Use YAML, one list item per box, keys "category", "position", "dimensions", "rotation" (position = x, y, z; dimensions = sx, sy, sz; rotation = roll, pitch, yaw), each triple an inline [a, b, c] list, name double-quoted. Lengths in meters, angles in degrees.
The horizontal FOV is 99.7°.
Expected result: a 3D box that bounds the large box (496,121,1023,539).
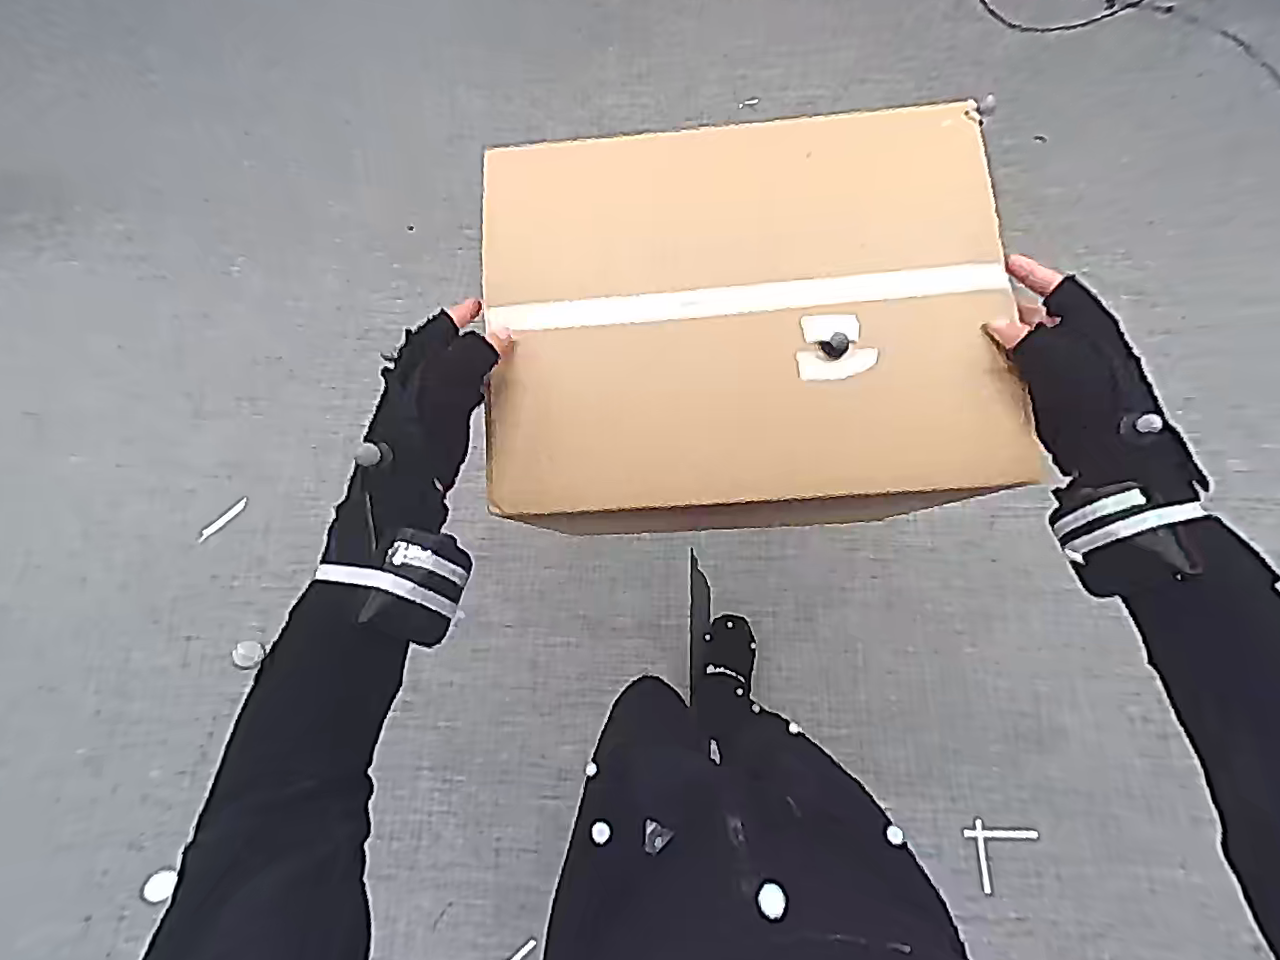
- category: "large box"
  position: [0.089, -0.113, 0.586]
  dimensions: [0.408, 0.320, 0.320]
  rotation: [-4, 81, 3]
